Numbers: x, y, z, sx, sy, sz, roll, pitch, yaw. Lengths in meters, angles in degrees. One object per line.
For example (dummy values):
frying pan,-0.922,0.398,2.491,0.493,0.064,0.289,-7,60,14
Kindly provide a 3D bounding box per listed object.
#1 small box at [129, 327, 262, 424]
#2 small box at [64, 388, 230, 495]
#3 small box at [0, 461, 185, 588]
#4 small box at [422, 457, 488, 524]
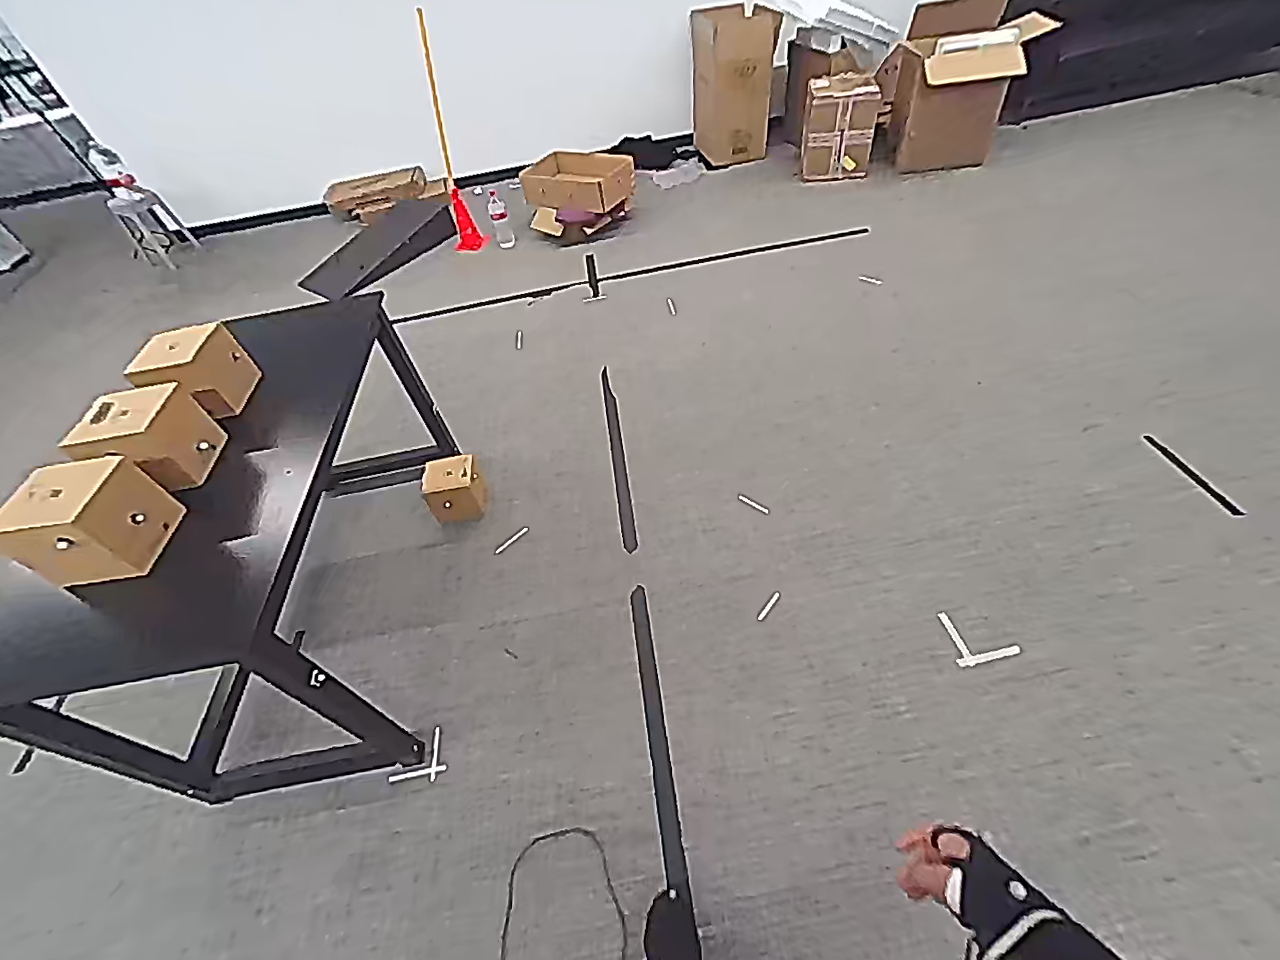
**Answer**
small box,-1.101,-0.253,1.360,0.168,0.176,0.179,-12,48,1
small box,-1.067,-0.075,1.190,0.179,0.176,0.168,-11,47,-2
small box,-1.042,0.089,1.038,0.179,0.176,0.168,-9,47,2
small box,-0.680,0.044,2.005,0.179,0.176,0.168,-12,48,0
